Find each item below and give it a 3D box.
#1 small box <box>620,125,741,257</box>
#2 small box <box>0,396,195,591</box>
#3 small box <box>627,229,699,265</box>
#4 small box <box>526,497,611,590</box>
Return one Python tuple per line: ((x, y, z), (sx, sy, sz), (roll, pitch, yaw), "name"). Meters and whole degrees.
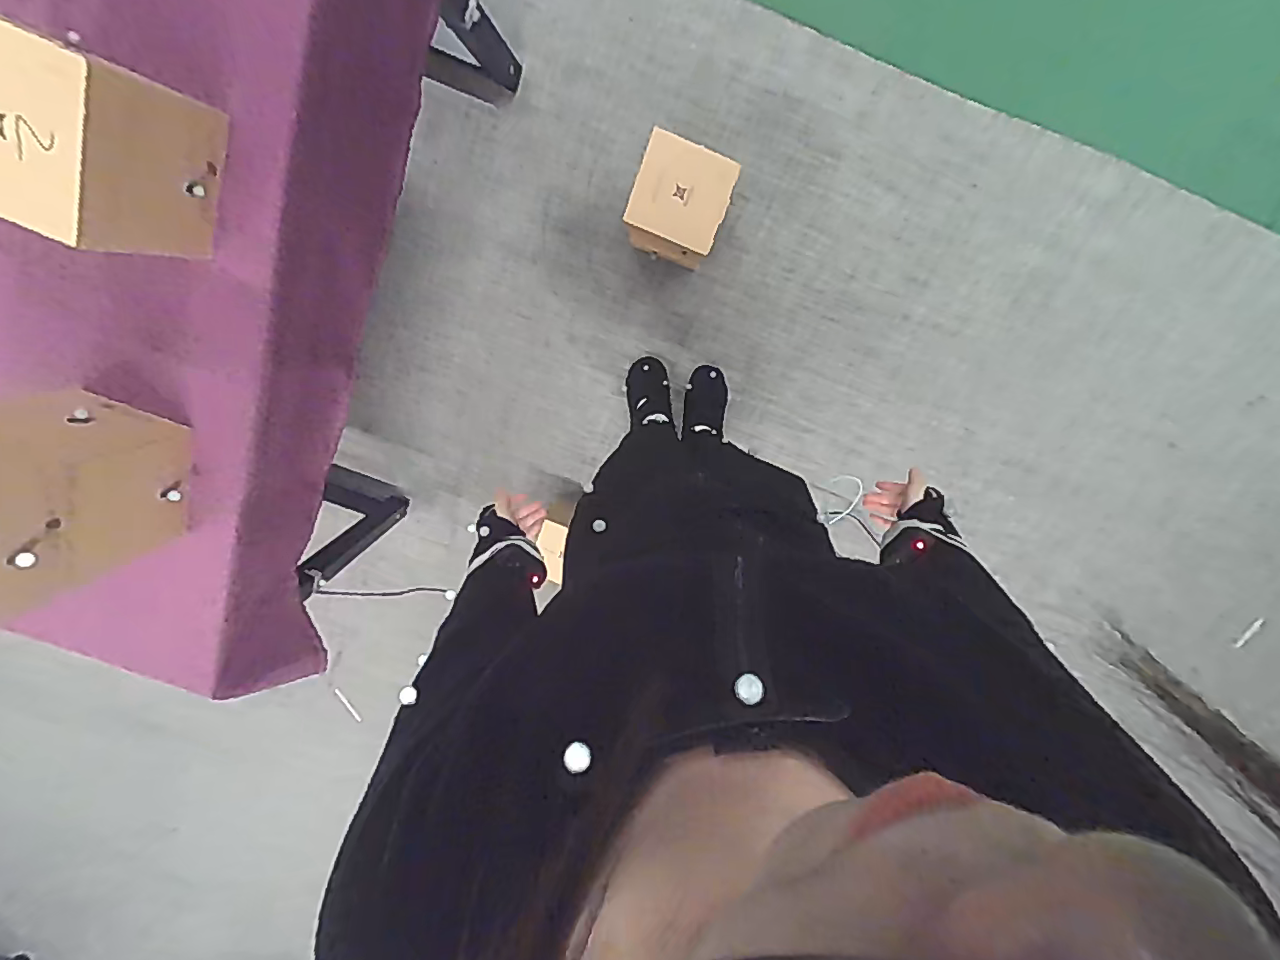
((0.076, -0.552, 1.061), (0.179, 0.176, 0.168), (21, 107, -4), "small box")
((-0.720, 0.006, 0.694), (0.168, 0.176, 0.179), (19, 108, -3), "small box")
((0.081, -0.597, 1.217), (0.168, 0.176, 0.179), (19, 108, -4), "small box")
((-0.190, 0.168, 1.496), (0.179, 0.176, 0.168), (22, 109, -4), "small box")
